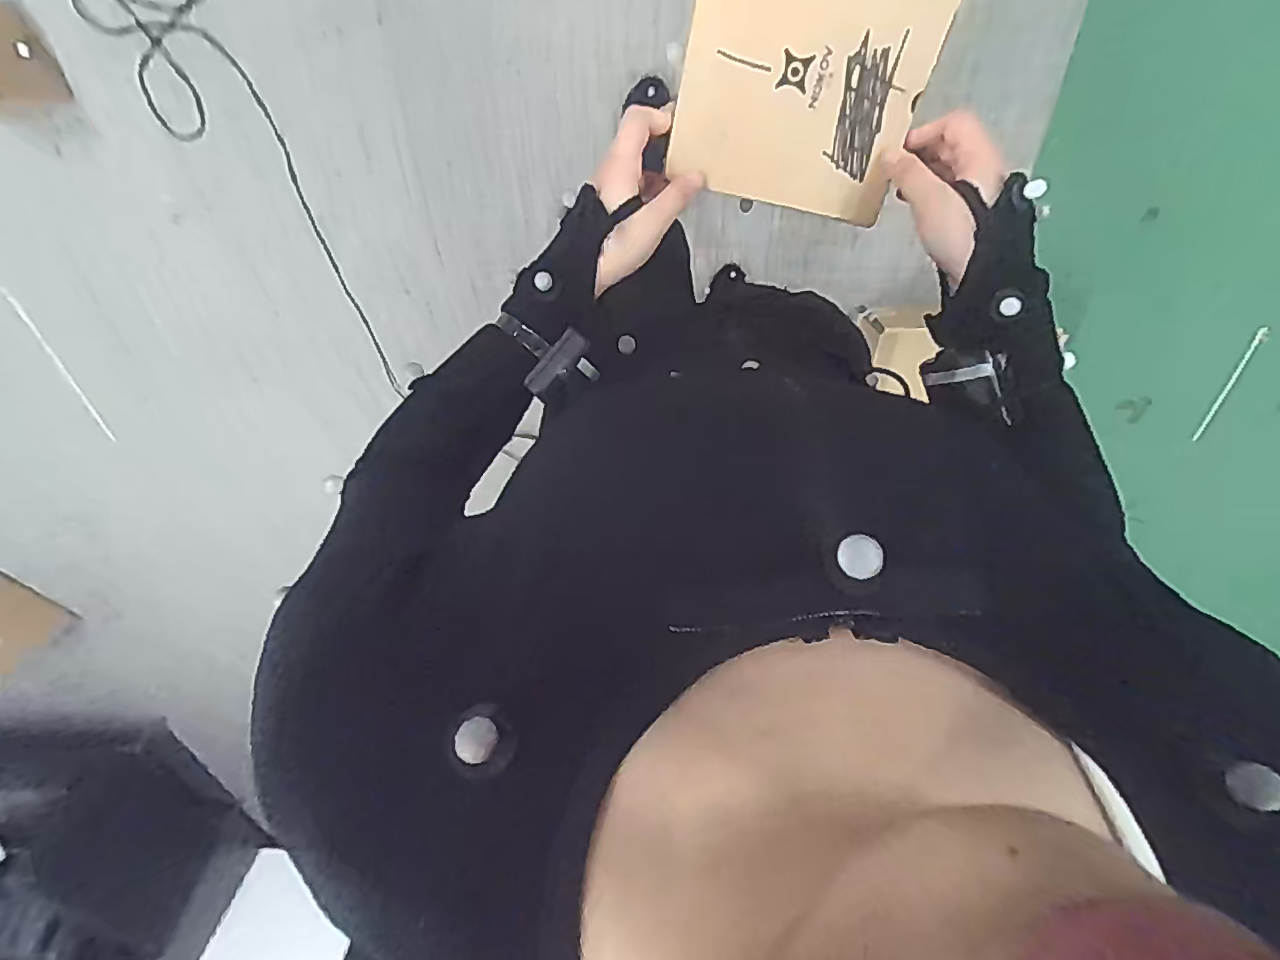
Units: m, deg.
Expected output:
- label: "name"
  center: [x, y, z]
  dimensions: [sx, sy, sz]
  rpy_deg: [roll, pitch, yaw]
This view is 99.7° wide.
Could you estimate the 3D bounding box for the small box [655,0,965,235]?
- label: "small box"
  center: [0.118, -0.319, 0.444]
  dimensions: [0.179, 0.176, 0.168]
  rpy_deg: [12, 123, -2]
